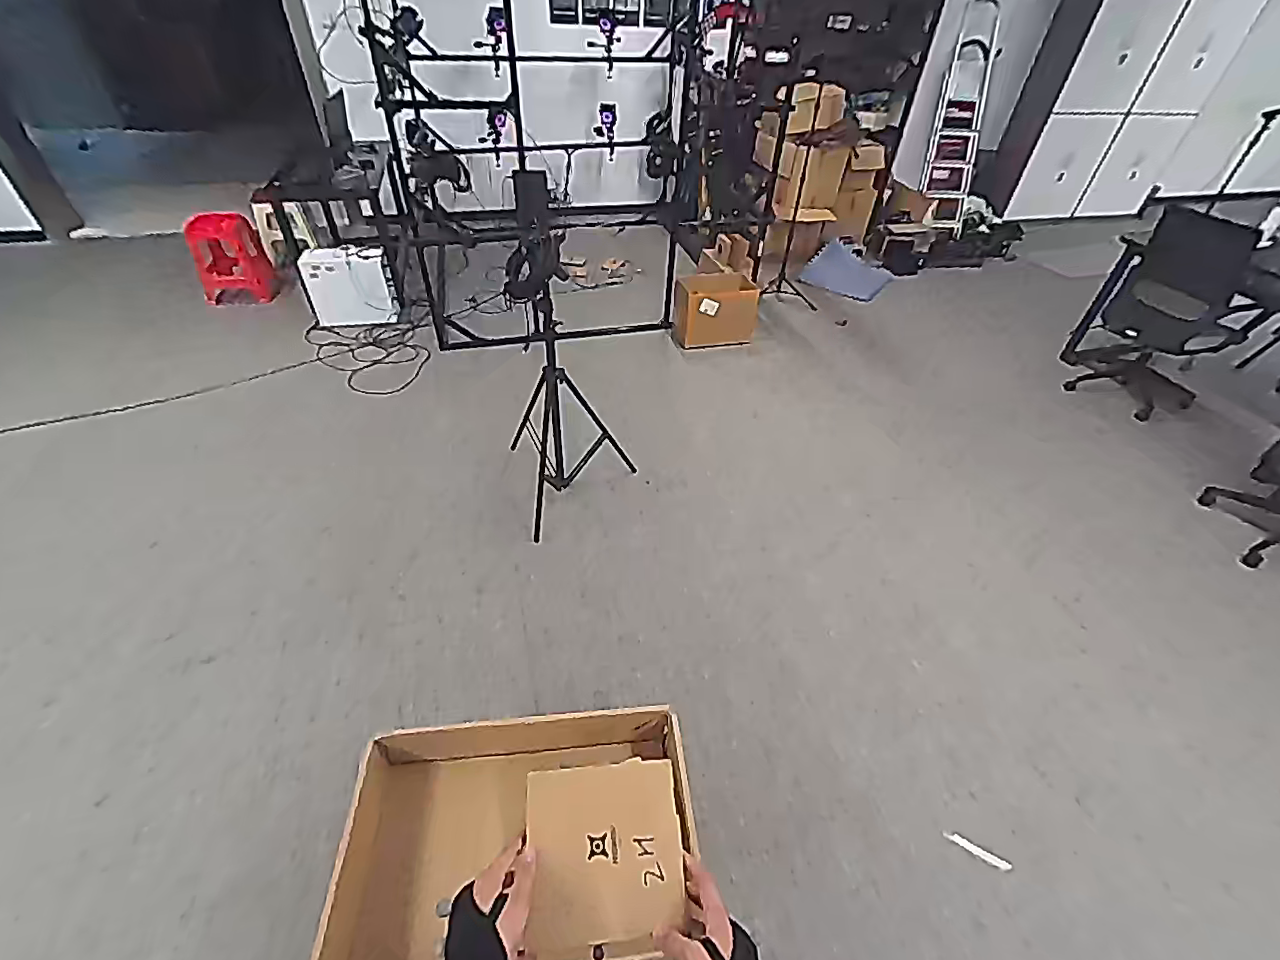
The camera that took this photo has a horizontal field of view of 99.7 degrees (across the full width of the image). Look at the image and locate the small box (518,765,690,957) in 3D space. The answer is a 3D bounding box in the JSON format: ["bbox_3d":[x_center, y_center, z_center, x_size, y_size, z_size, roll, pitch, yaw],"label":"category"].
[{"bbox_3d":[-0.048,0.456,0.652,0.179,0.176,0.168,0,52,-8],"label":"small box"}]
